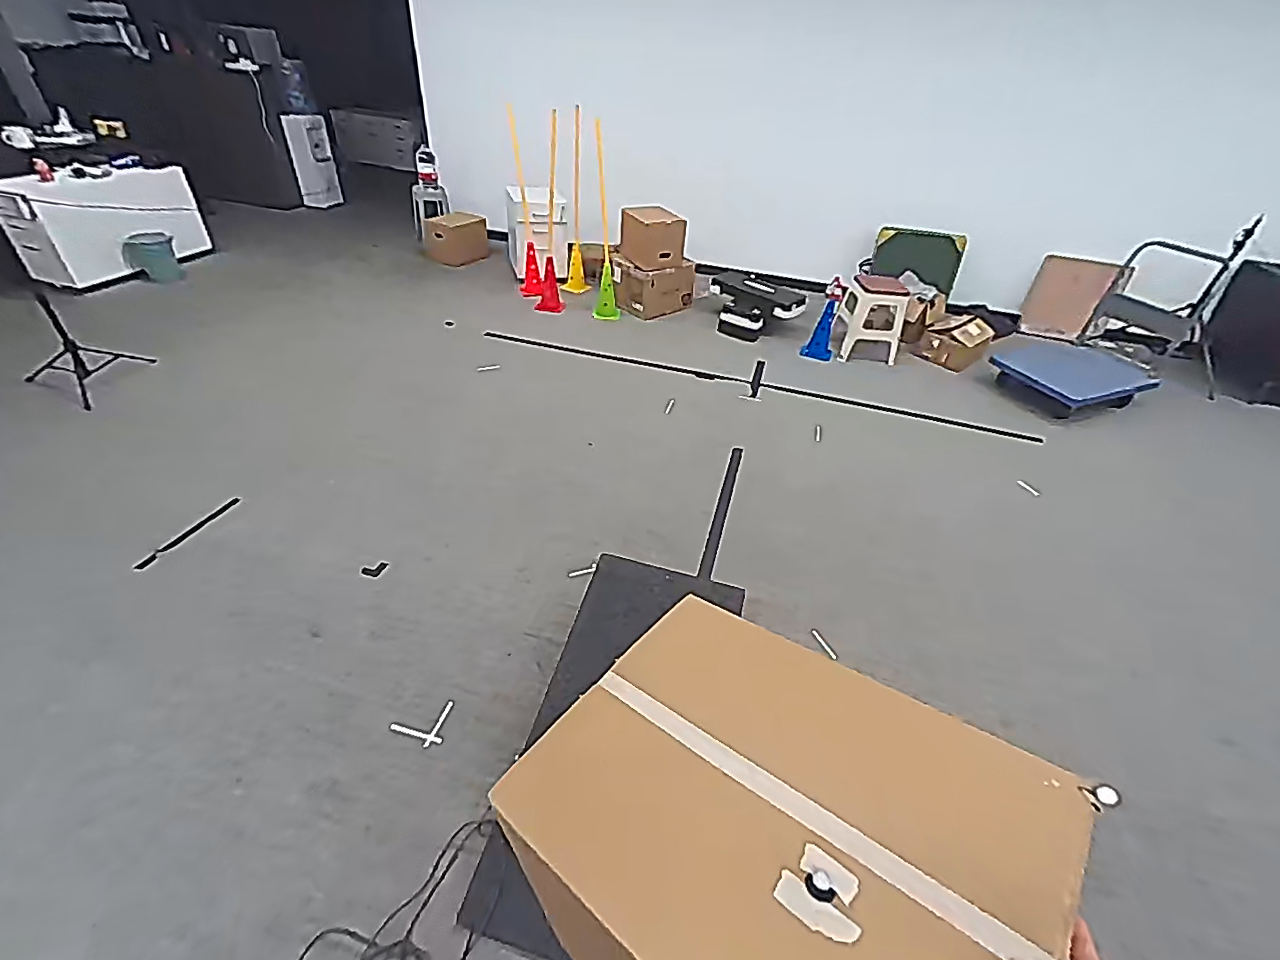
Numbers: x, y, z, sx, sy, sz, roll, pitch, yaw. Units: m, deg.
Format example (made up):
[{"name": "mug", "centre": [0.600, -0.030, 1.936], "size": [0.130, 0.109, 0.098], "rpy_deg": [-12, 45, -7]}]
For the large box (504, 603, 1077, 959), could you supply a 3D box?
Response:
[{"name": "large box", "centre": [0.132, 0.398, 0.550], "size": [0.408, 0.320, 0.320], "rpy_deg": [19, 40, 38]}]

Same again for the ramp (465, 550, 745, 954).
[{"name": "ramp", "centre": [-0.023, 0.651, 1.478], "size": [0.509, 0.206, 0.991], "rpy_deg": [13, 39, 7]}]
